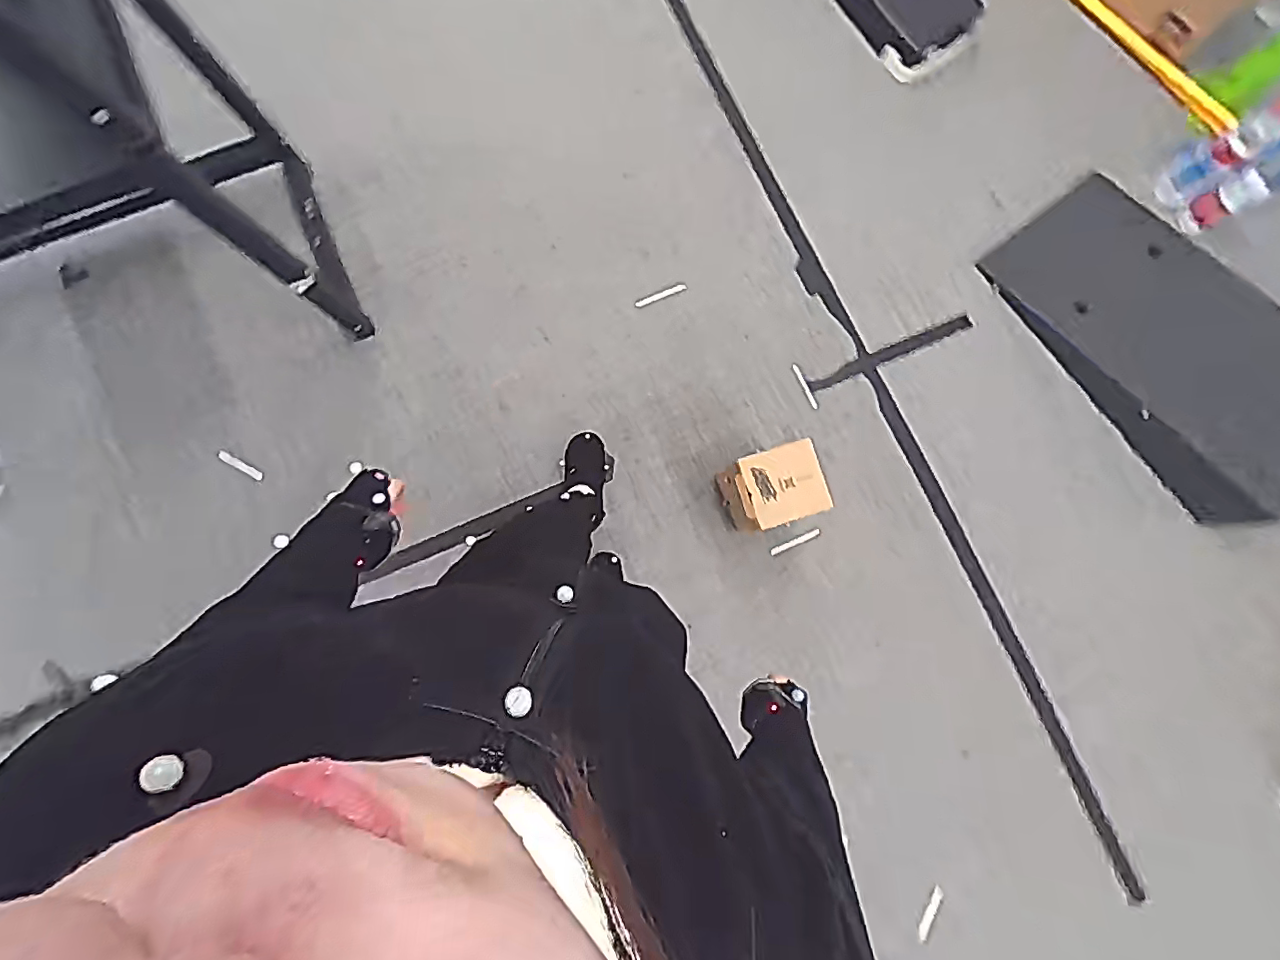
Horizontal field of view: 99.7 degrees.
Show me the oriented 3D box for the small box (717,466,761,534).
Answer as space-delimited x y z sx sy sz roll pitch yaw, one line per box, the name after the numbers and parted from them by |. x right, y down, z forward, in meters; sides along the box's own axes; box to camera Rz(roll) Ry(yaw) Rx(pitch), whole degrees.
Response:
0.318 0.031 1.428 0.168 0.176 0.179 -21 86 -3 | small box

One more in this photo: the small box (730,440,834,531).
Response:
0.319 0.020 1.263 0.179 0.176 0.168 -17 85 -4 | small box
